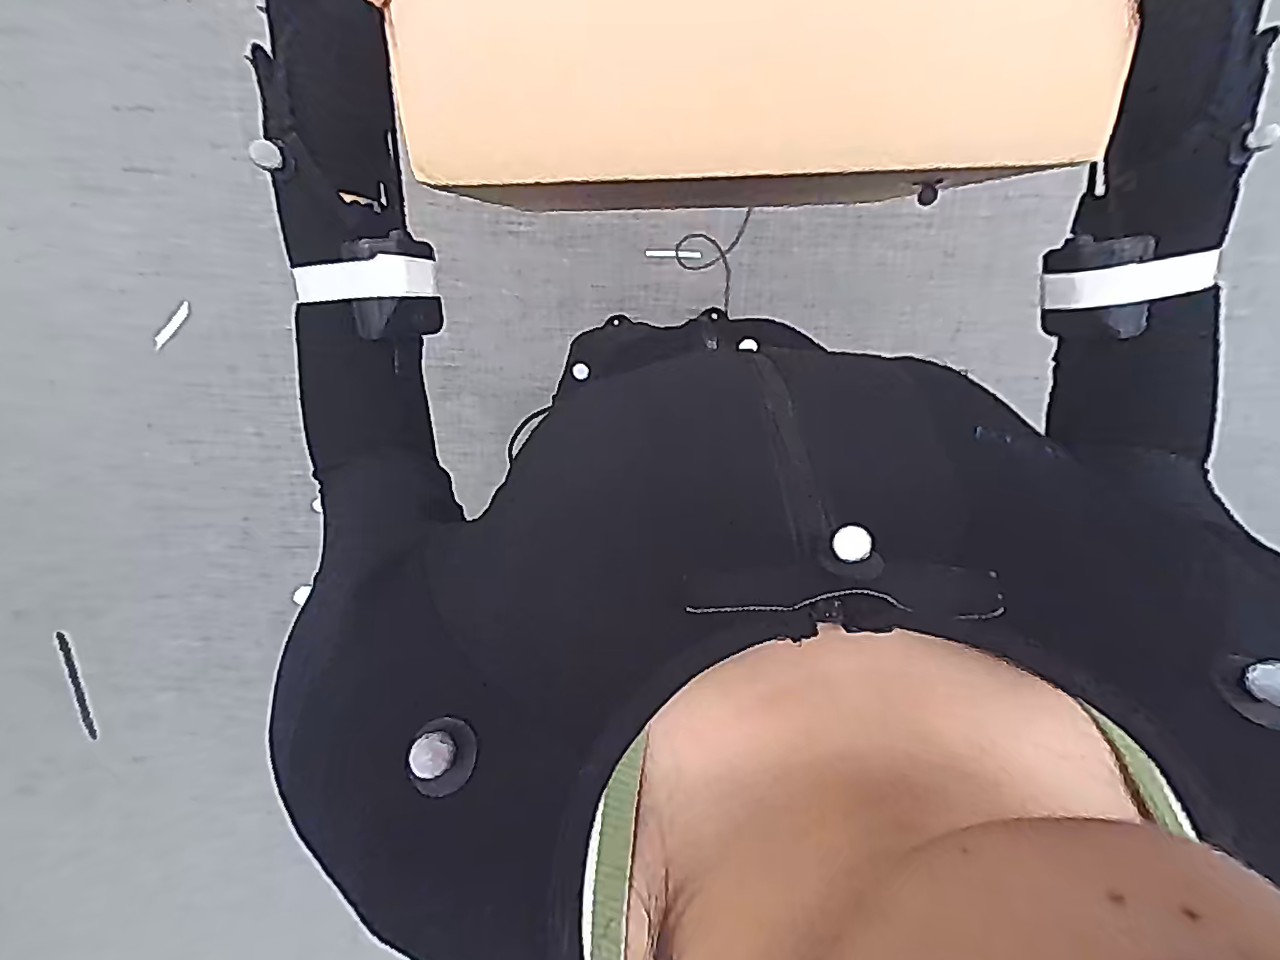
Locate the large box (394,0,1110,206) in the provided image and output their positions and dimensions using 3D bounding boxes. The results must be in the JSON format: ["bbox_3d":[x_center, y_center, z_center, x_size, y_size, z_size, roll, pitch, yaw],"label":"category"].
[{"bbox_3d":[0.061,-0.390,0.405,0.408,0.320,0.320,-2,114,1],"label":"large box"}]
